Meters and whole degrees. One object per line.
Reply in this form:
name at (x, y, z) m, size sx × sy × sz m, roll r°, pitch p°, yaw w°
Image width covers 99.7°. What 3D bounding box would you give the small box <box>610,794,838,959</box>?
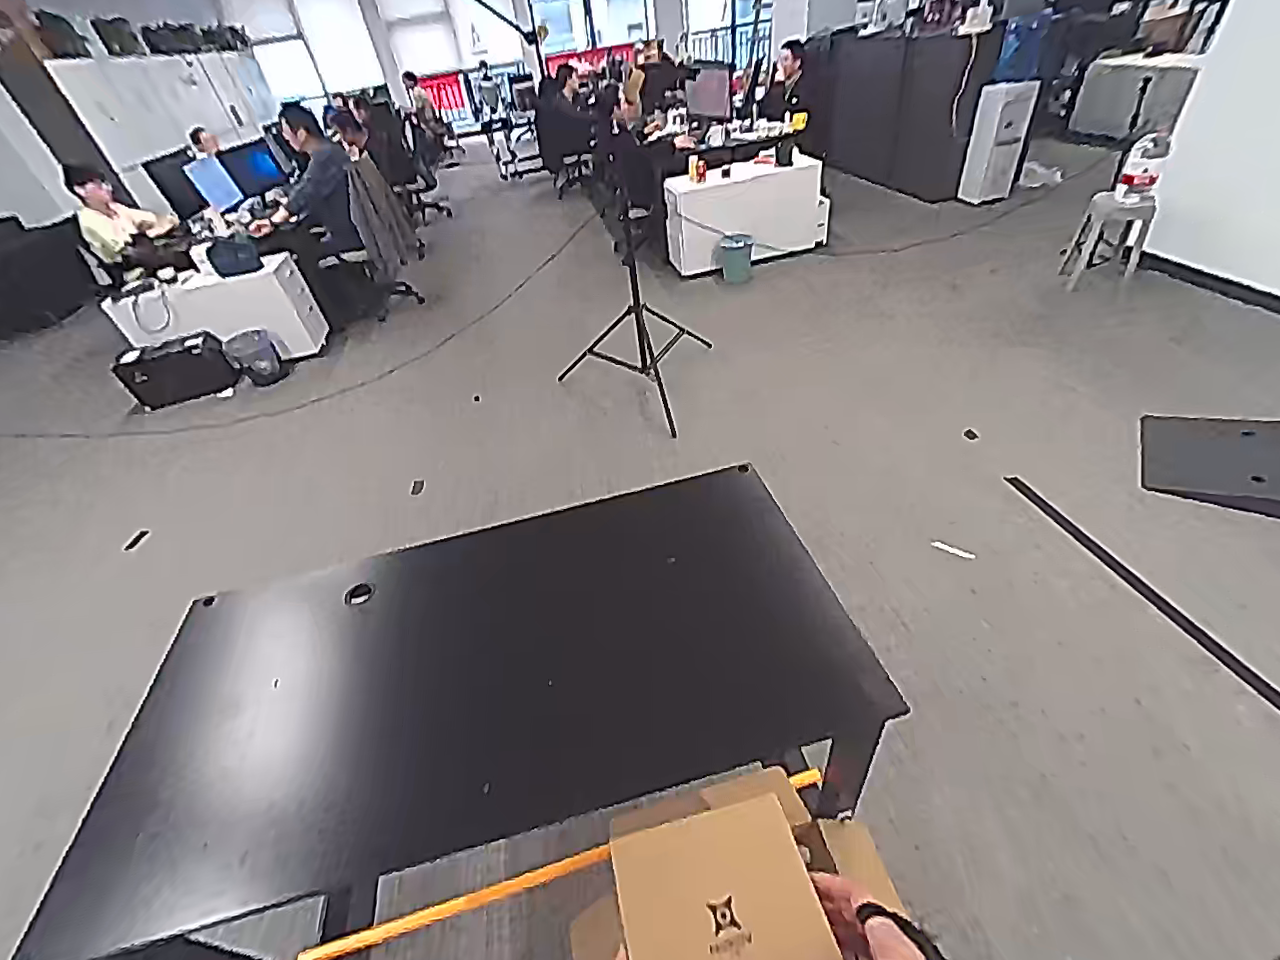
small box at (0.072, 0.428, 0.491) m, size 0.168 × 0.176 × 0.179 m, roll -11°, pitch 40°, yaw -7°
